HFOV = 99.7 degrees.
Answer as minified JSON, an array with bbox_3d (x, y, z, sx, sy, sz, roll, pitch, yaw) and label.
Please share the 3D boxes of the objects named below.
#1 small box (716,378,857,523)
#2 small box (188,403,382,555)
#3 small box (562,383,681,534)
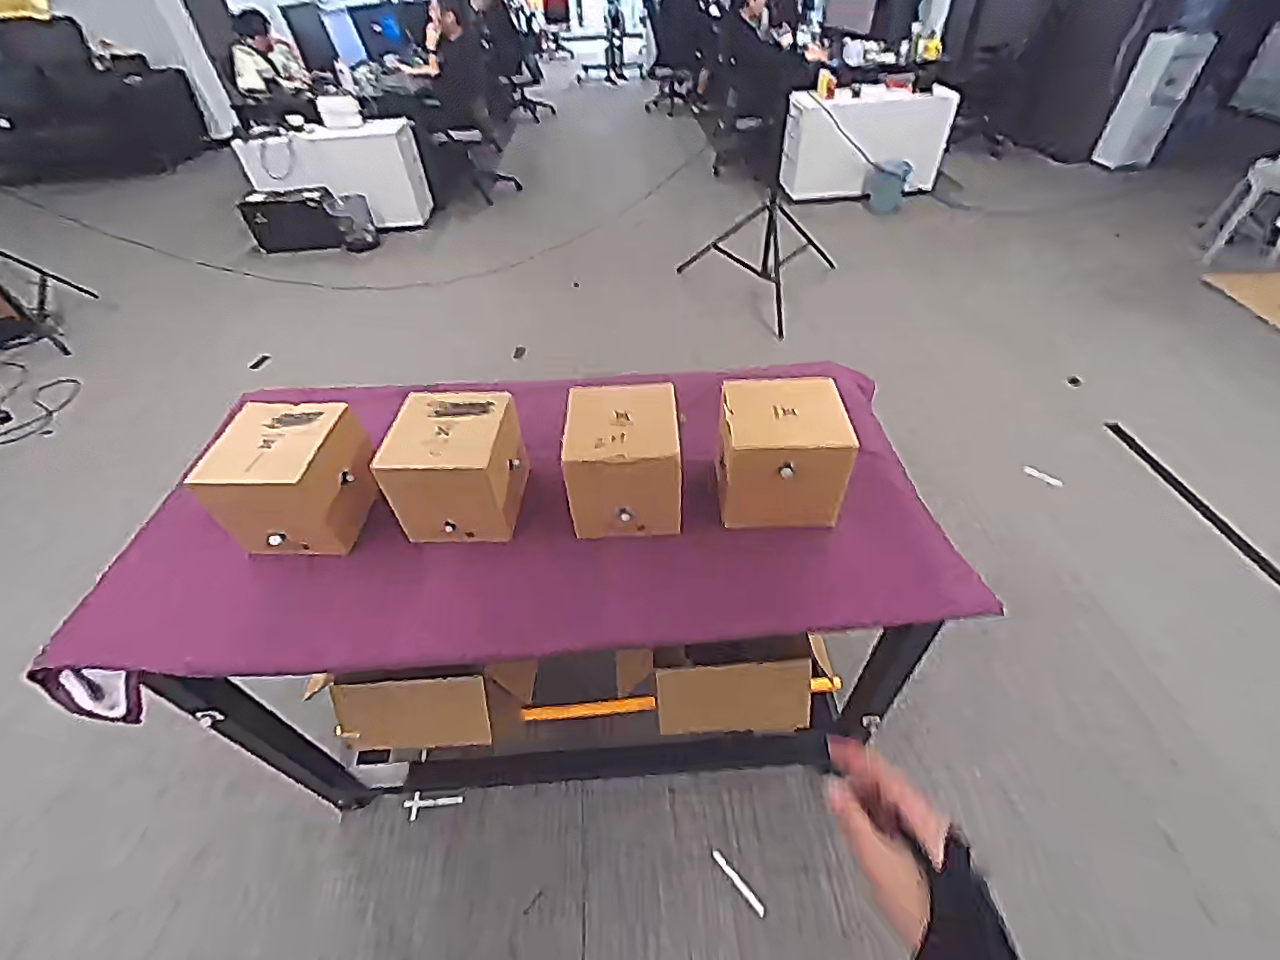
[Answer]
[{"bbox_3d":[0.217,-0.044,0.853,0.179,0.176,0.168,-1,44,3],"label":"small box"},{"bbox_3d":[-0.536,-0.003,0.852,0.168,0.176,0.179,0,47,3],"label":"small box"},{"bbox_3d":[-0.023,-0.034,0.856,0.168,0.176,0.179,-3,44,2],"label":"small box"}]
